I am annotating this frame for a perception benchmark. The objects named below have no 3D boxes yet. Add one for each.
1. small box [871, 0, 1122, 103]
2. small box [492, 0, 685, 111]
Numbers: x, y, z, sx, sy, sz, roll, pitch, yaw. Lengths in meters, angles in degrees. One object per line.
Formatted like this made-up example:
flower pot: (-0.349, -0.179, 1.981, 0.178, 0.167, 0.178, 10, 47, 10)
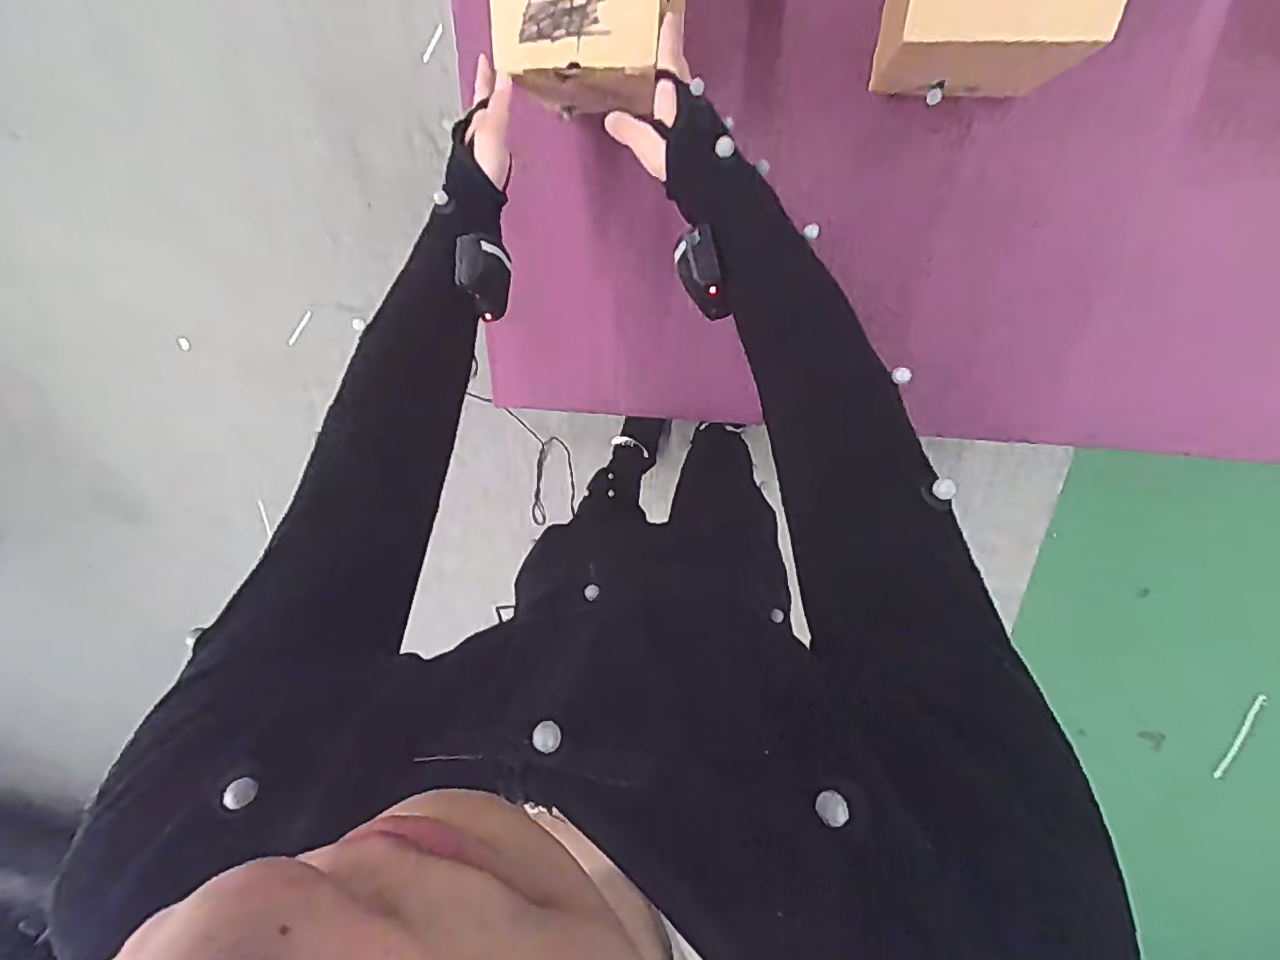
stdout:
small box: (0.327, -0.476, 0.498, 0.168, 0.176, 0.179, 8, 113, 9)
small box: (-0.043, -0.503, 0.561, 0.168, 0.176, 0.179, 6, 113, 9)
